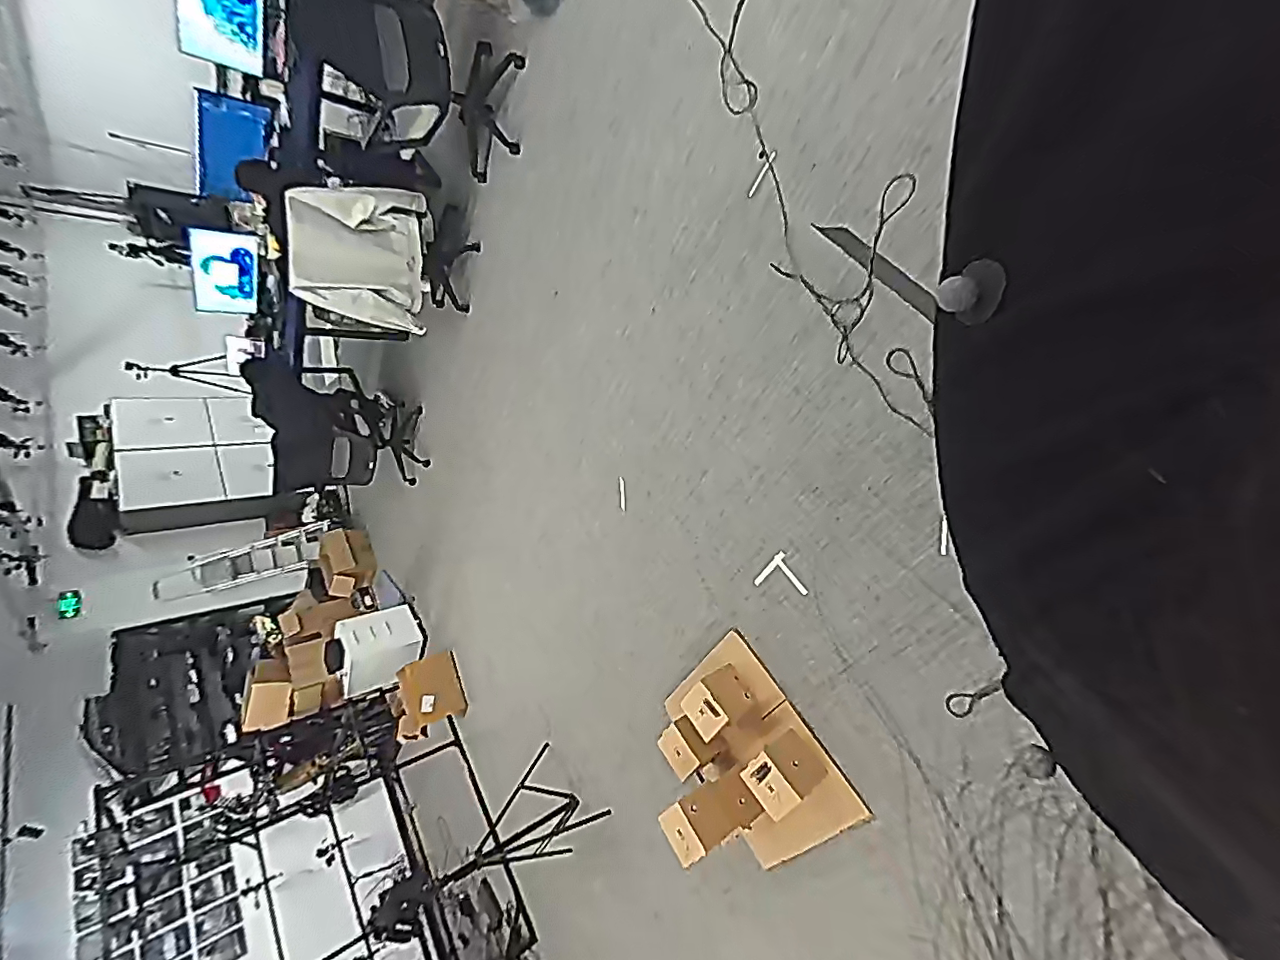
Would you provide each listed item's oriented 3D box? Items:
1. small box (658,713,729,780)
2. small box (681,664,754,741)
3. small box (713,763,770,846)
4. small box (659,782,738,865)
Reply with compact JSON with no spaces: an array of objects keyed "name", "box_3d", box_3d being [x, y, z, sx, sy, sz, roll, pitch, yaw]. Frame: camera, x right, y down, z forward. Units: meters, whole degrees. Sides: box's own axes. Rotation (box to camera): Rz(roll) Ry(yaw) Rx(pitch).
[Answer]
[{"name":"small box","box_3d":[0.208,1.015,2.102,0.179,0.176,0.168,49,130,31]},{"name":"small box","box_3d":[0.289,0.805,1.970,0.168,0.176,0.179,50,130,30]},{"name":"small box","box_3d":[0.339,1.181,1.978,0.179,0.176,0.168,49,129,30]},{"name":"small box","box_3d":[0.204,1.184,1.880,0.179,0.176,0.168,53,132,28]}]
